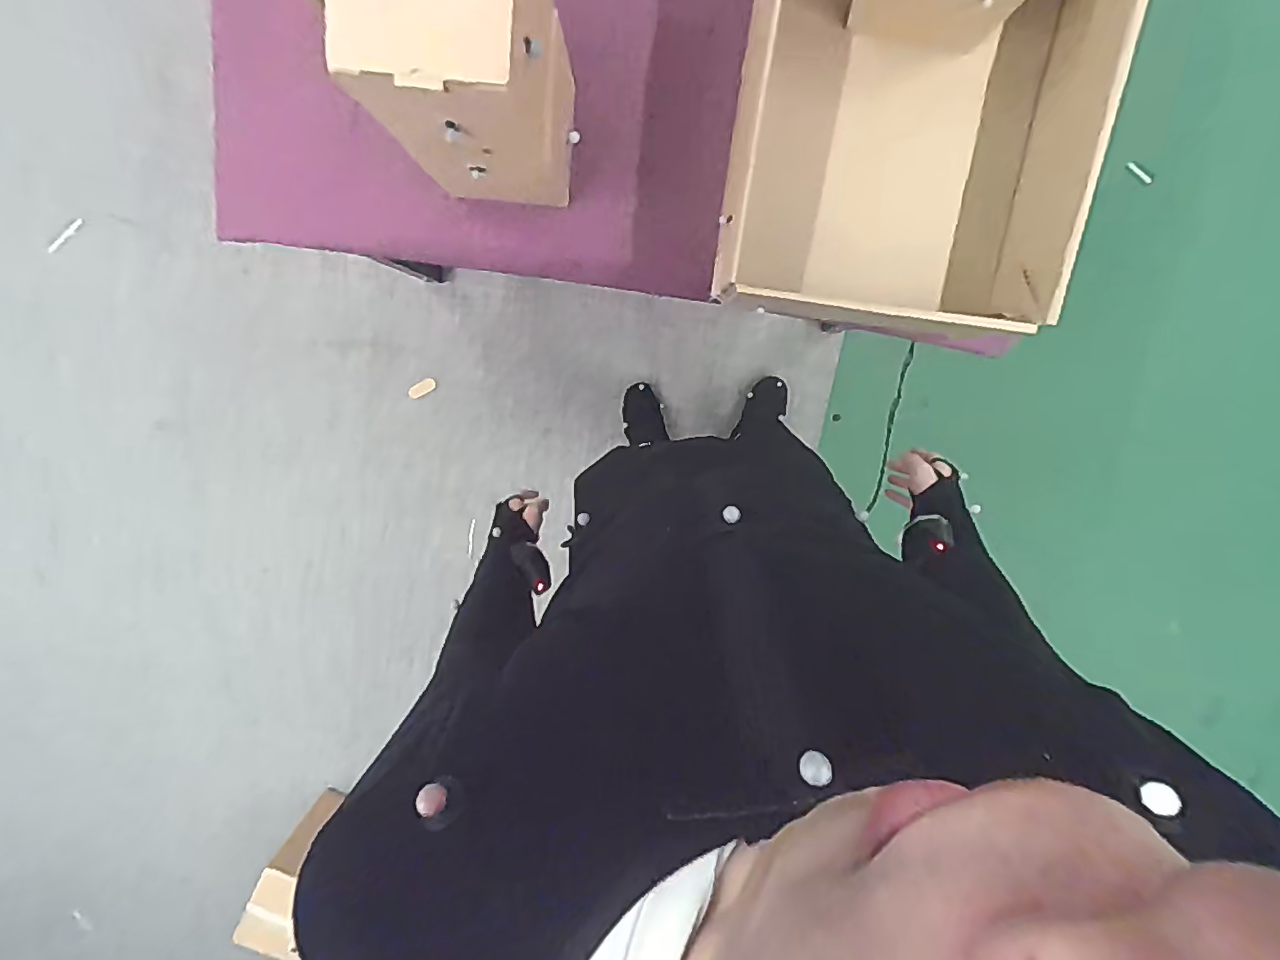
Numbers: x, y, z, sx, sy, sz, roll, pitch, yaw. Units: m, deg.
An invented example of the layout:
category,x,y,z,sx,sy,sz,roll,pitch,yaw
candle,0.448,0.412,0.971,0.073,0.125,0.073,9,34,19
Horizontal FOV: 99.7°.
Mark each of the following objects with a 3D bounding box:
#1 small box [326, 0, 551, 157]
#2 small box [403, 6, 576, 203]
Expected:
category,x,y,z,sx,sy,sz,roll,pitch,yaw
small box,-0.187,-0.454,0.544,0.168,0.176,0.179,6,101,-1
small box,-0.186,-0.479,0.706,0.179,0.176,0.168,5,101,-1
